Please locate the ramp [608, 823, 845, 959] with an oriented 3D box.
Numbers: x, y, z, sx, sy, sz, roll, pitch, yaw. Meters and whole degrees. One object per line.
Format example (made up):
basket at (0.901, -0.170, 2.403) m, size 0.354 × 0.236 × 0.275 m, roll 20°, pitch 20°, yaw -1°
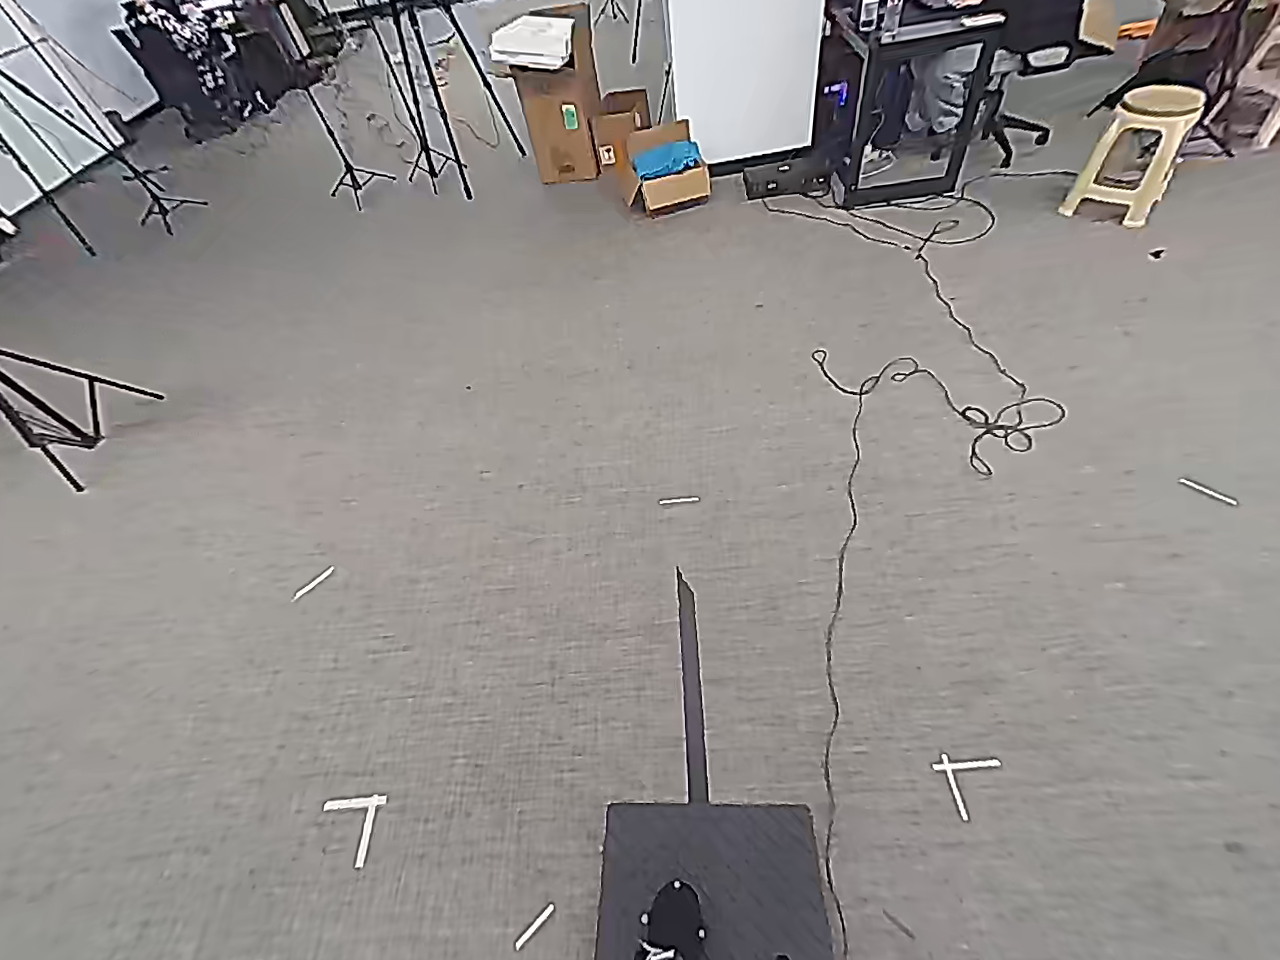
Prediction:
ramp at (0.163, 1.150, 0.922) m, size 0.509 × 0.206 × 0.991 m, roll -7°, pitch 48°, yaw 7°
